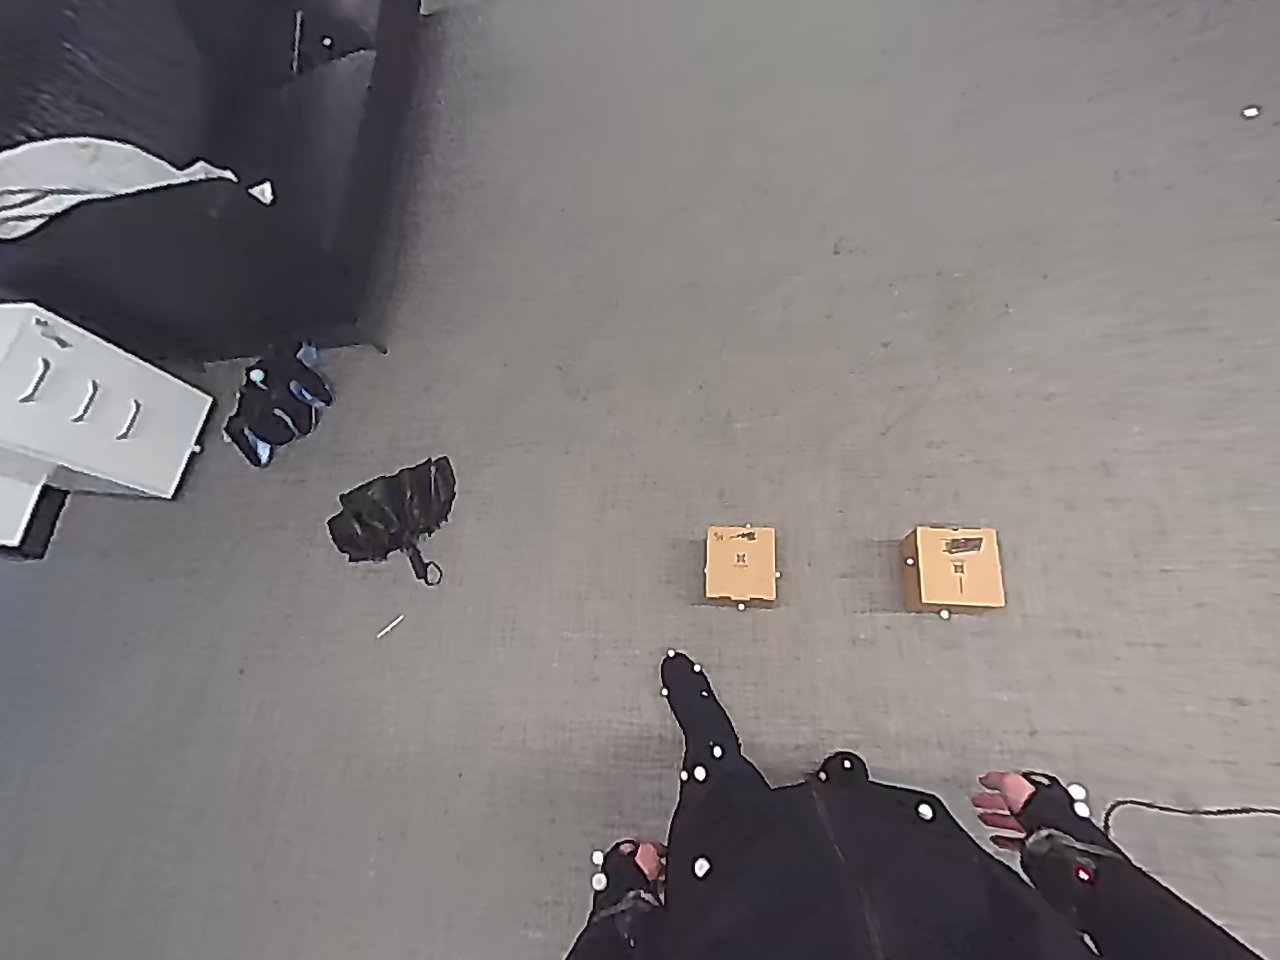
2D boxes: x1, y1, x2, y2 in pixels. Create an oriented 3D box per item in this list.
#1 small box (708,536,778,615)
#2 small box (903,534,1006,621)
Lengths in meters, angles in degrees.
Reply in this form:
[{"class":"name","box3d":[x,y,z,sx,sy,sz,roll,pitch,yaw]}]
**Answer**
[{"class":"small box","box3d":[0.269,0.249,1.389,0.168,0.176,0.179,-1,70,14]},{"class":"small box","box3d":[0.733,0.233,1.278,0.168,0.176,0.179,-1,71,15]}]
